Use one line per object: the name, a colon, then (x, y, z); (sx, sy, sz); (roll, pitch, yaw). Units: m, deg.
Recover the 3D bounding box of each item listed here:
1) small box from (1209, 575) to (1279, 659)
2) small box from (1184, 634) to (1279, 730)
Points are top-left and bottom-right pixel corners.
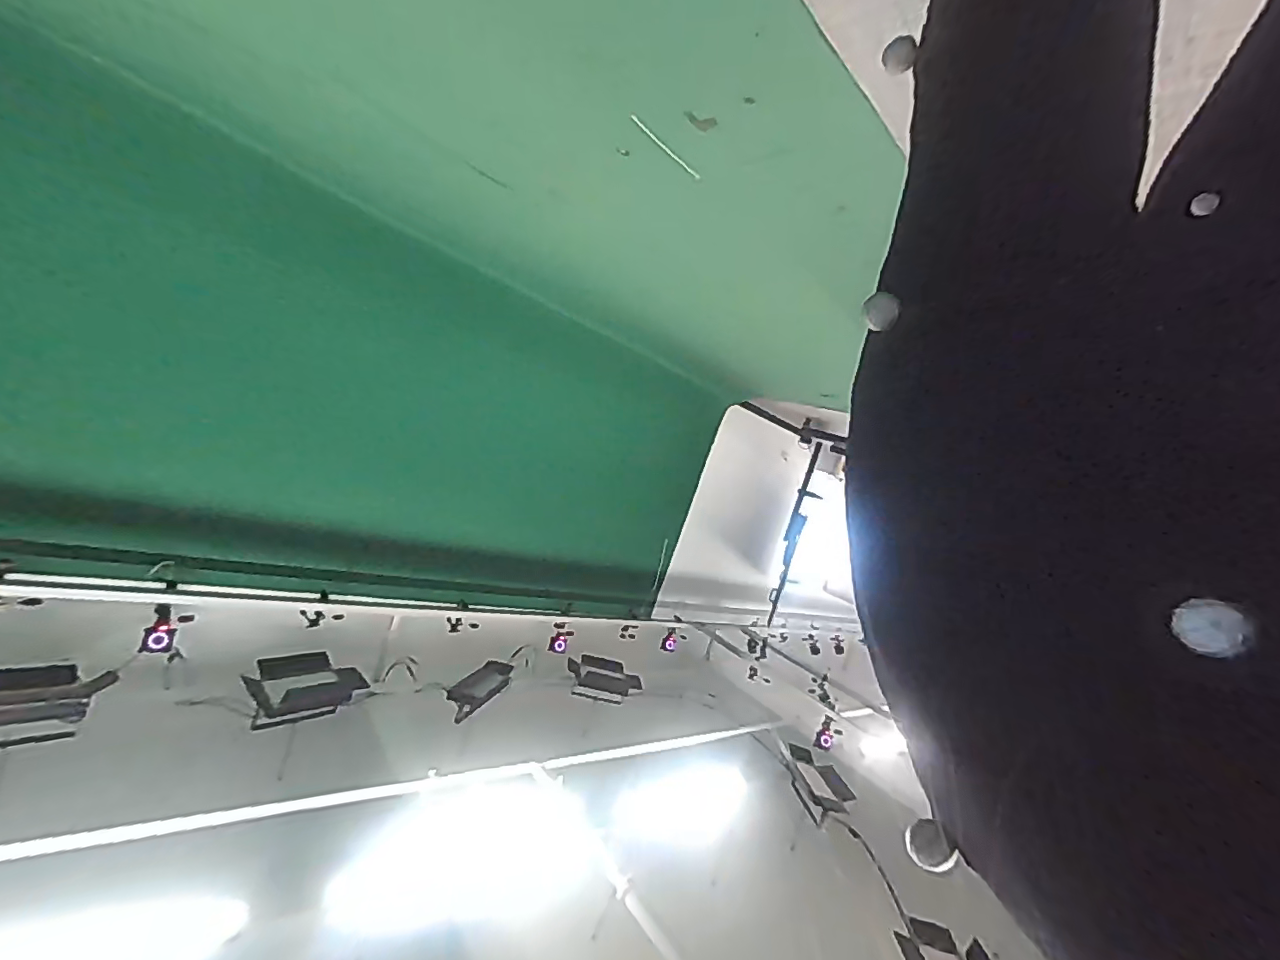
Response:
small box: (1.592, 0.355, 1.358); (0.179, 0.176, 0.168); (18, -177, -32)
small box: (1.549, 0.510, 1.379); (0.168, 0.176, 0.179); (18, -177, -36)
